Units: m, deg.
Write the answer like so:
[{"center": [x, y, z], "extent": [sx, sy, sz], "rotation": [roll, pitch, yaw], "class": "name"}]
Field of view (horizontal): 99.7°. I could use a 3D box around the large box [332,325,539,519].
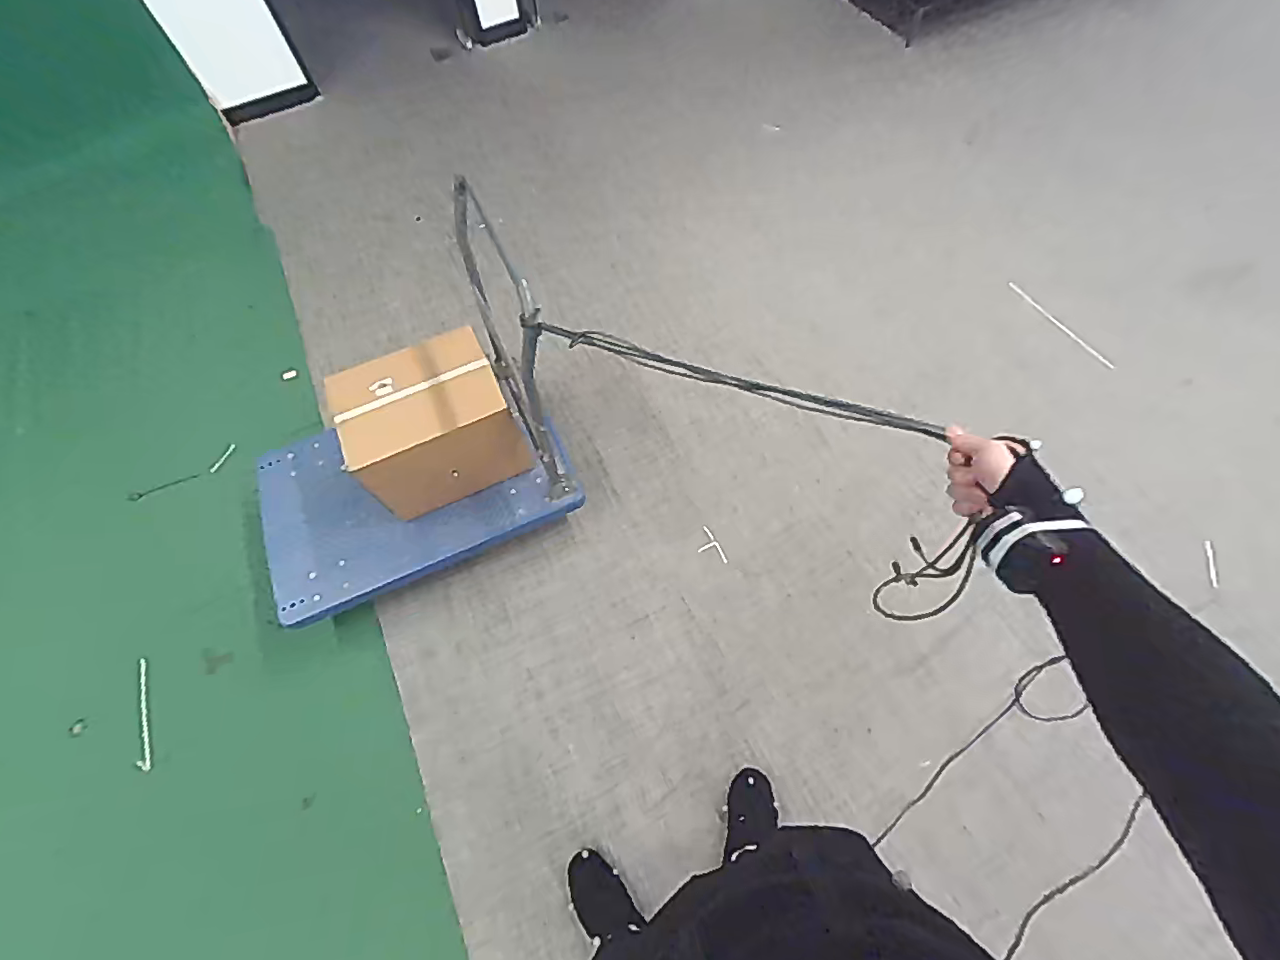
[{"center": [-0.545, -0.151, 1.495], "extent": [0.408, 0.320, 0.320], "rotation": [-24, 63, -9], "class": "large box"}]
